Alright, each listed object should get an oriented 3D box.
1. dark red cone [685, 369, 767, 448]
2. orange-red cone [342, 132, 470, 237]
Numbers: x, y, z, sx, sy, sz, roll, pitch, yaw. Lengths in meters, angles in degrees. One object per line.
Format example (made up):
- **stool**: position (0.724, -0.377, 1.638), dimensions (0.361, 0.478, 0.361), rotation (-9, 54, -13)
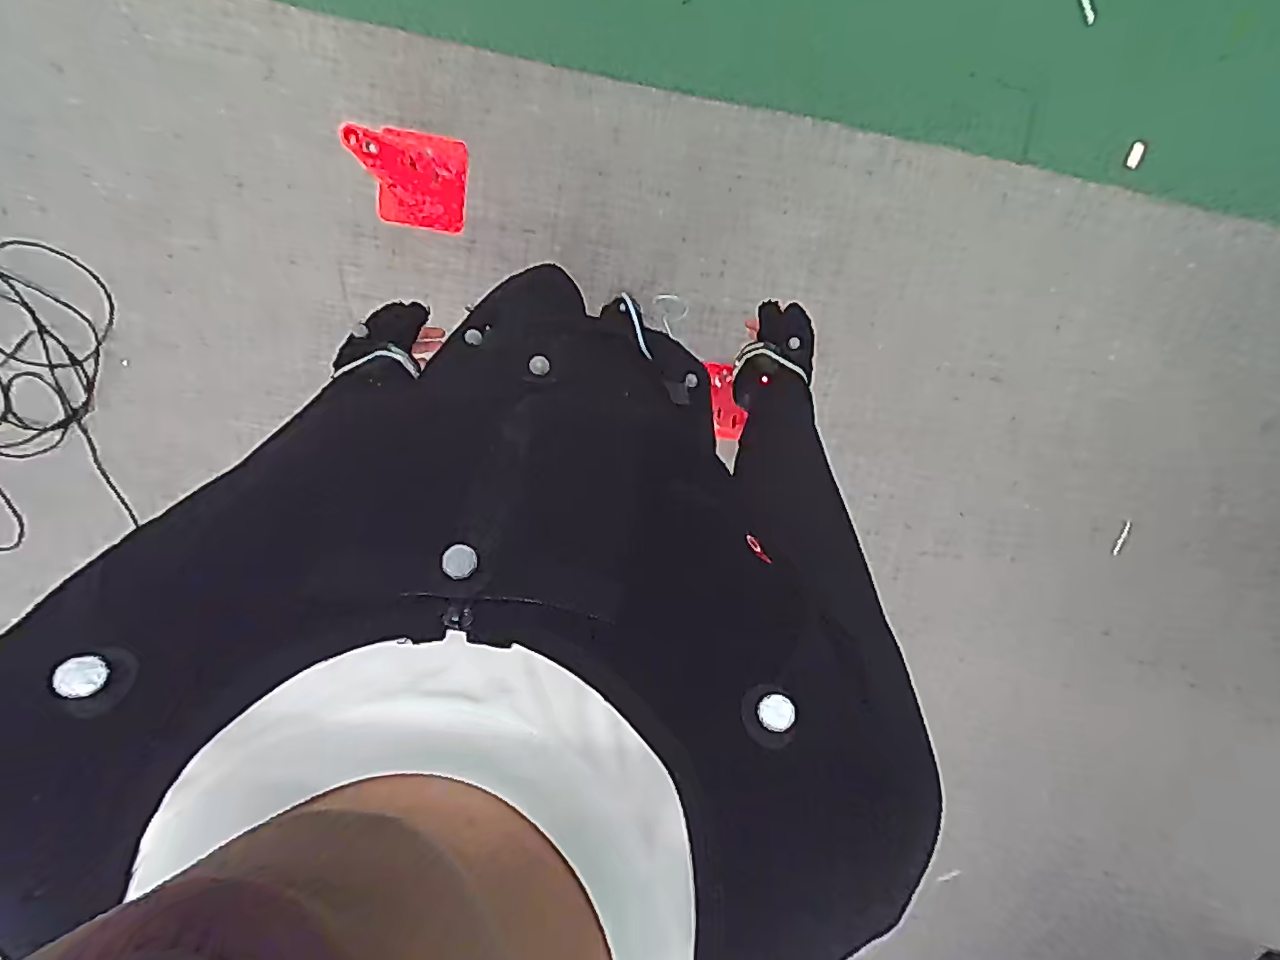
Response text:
- **dark red cone**: position (0.228, -0.141, 1.259), dimensions (0.202, 0.394, 0.201), rotation (4, 106, -3)
- **orange-red cone**: position (-0.499, -0.635, 1.103), dimensions (0.198, 0.360, 0.199), rotation (10, 108, -4)
